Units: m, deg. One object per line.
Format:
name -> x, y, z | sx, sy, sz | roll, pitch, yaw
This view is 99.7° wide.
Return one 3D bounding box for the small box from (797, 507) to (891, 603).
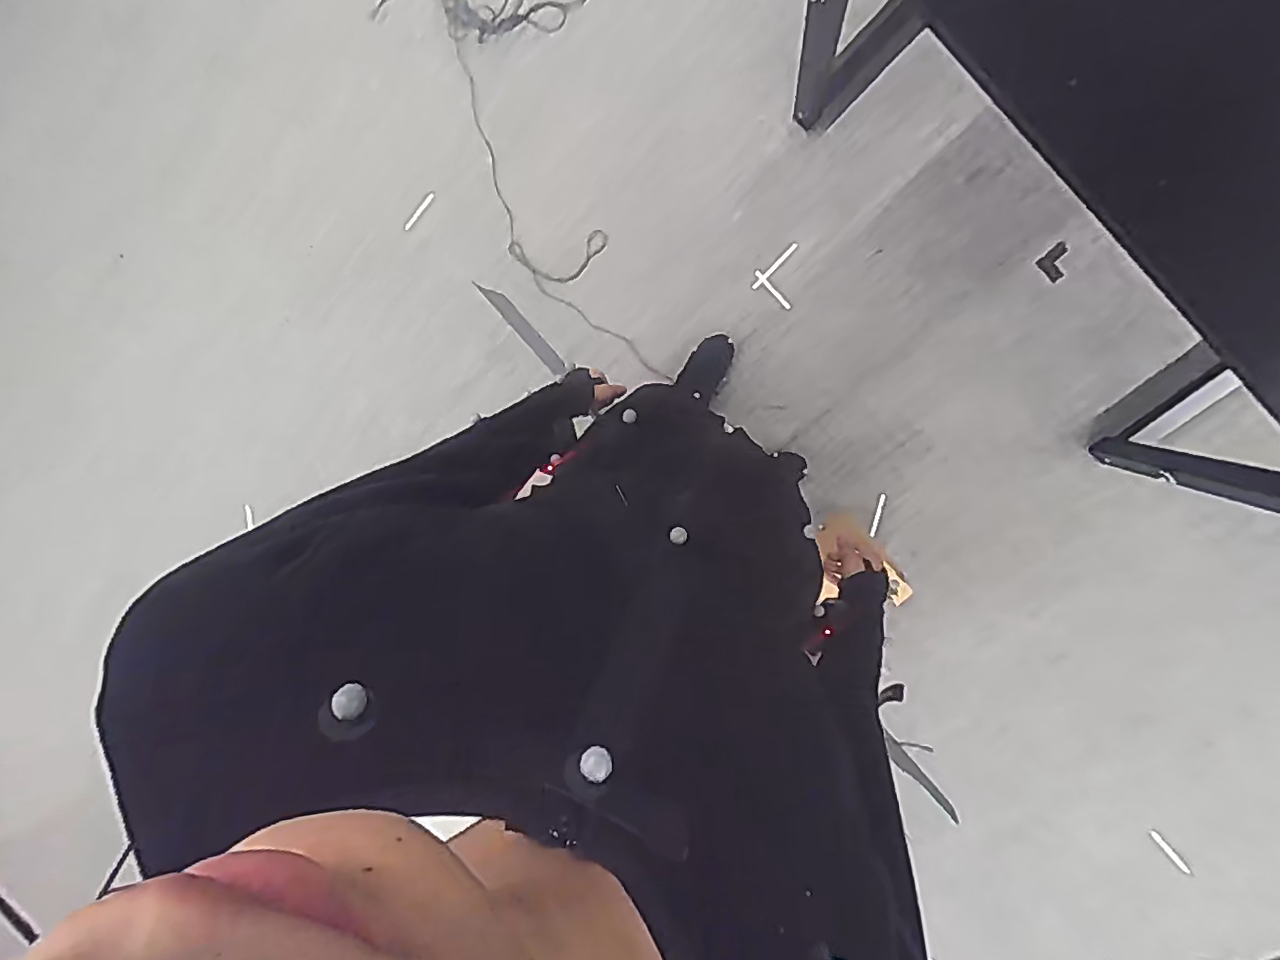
small box -> 0.557, 0.199, 1.498 | 0.168, 0.176, 0.179 | -42, 90, 17
